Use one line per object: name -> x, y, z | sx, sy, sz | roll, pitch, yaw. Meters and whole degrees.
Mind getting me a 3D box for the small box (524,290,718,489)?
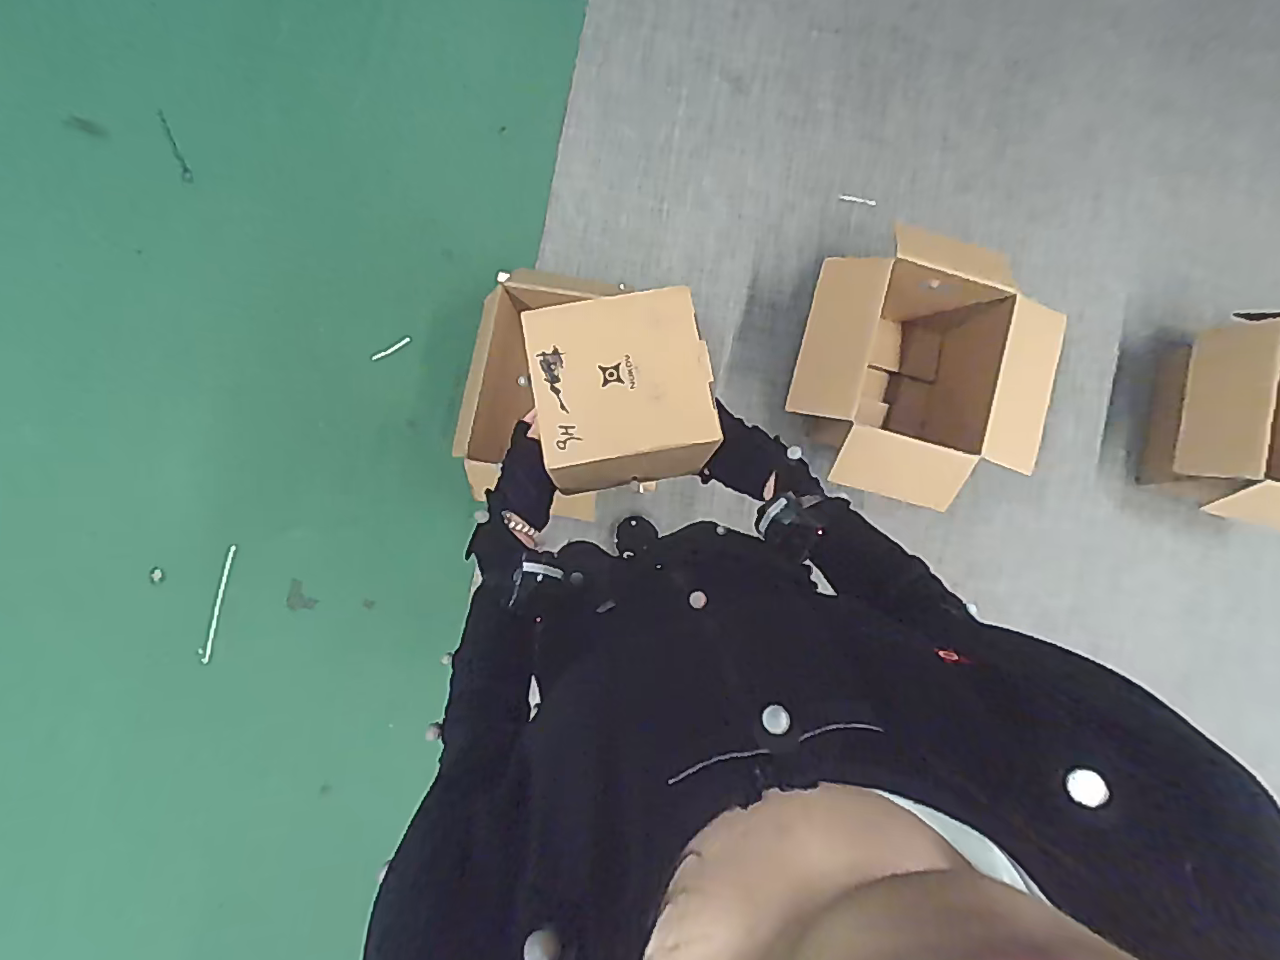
small box -> -0.025, -0.091, 0.614 | 0.179, 0.176, 0.168 | -8, 79, -5
